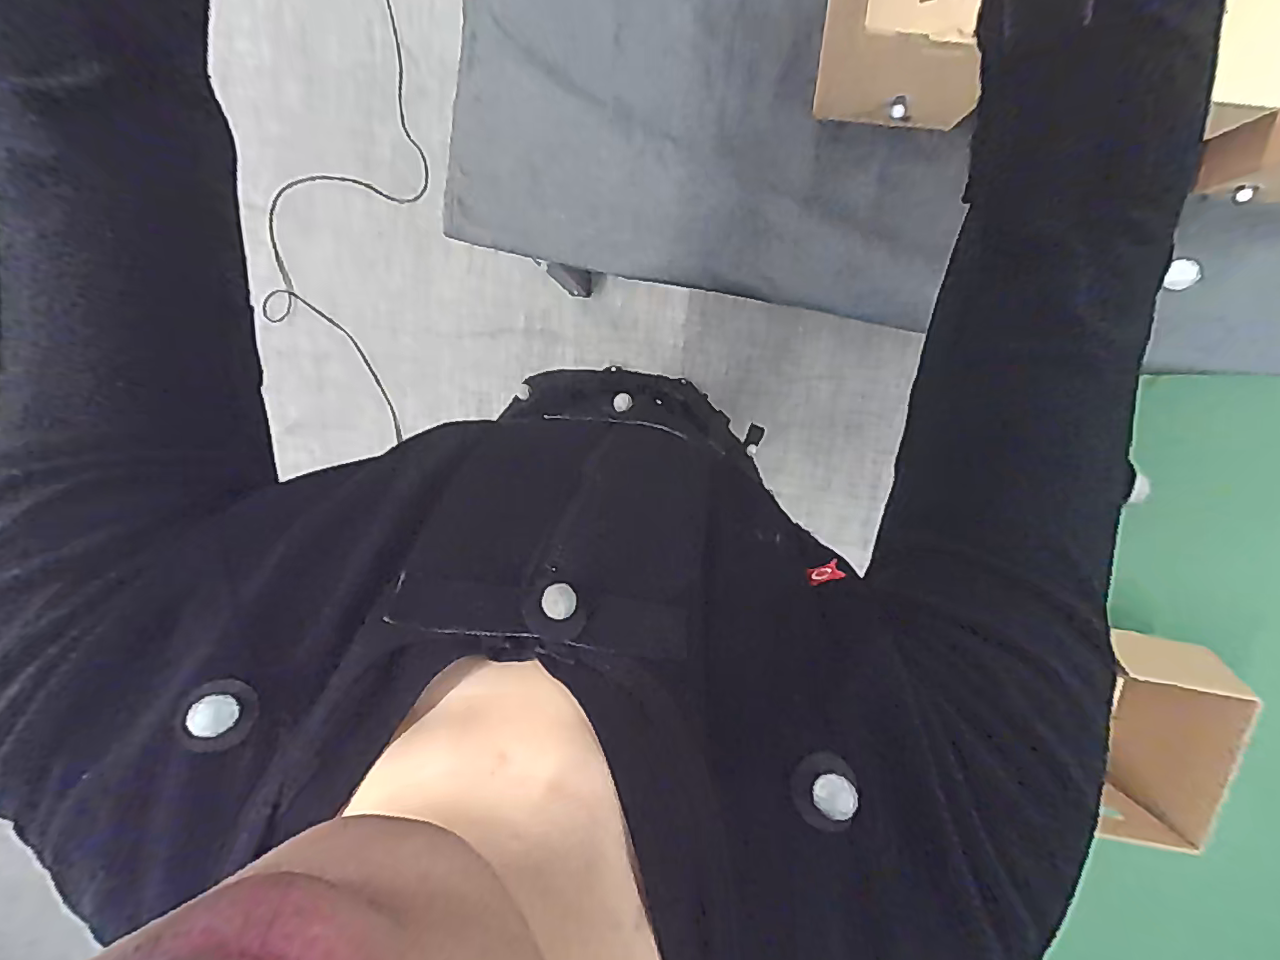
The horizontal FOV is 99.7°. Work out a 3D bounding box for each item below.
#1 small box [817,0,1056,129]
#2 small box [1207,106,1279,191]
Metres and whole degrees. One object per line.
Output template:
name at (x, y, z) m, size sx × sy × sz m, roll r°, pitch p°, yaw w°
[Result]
small box at (0.291, -0.494, 0.544) m, size 0.168 × 0.176 × 0.179 m, roll 6°, pitch 100°, yaw 1°
small box at (0.747, -0.404, 0.544) m, size 0.168 × 0.176 × 0.179 m, roll 6°, pitch 100°, yaw 1°
